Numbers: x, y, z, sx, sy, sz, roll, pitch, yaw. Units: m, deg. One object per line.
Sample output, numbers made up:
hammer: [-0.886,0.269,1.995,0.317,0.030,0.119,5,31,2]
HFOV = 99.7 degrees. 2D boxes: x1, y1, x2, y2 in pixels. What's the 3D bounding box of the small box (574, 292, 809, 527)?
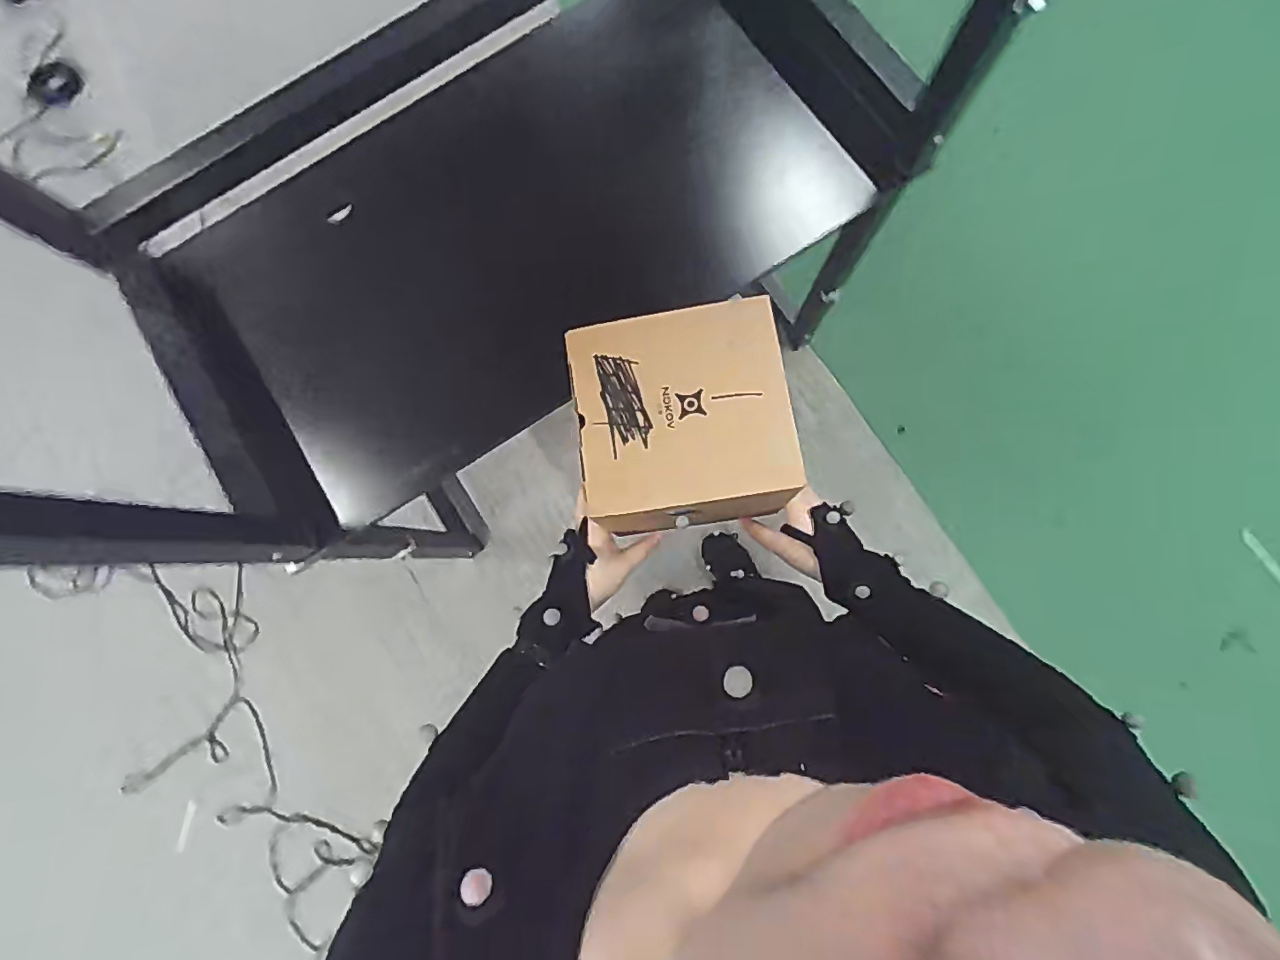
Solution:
small box: [0.046,-0.051,0.515,0.179,0.176,0.168,-7,79,4]
